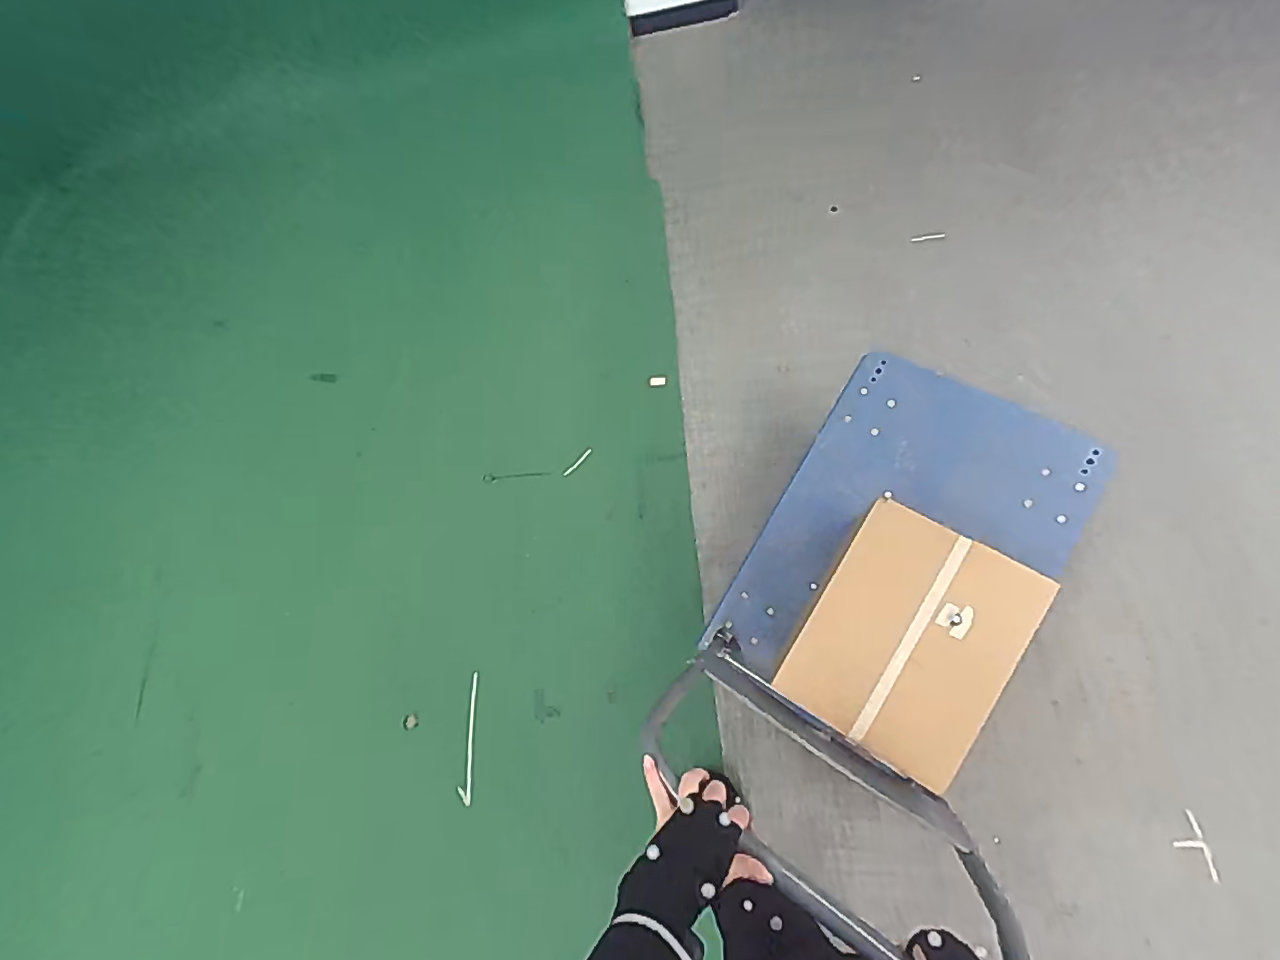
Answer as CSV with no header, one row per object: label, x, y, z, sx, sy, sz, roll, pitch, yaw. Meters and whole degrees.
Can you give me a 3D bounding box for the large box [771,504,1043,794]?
large box,0.499,0.317,1.093,0.320,0.320,0.408,30,87,18
